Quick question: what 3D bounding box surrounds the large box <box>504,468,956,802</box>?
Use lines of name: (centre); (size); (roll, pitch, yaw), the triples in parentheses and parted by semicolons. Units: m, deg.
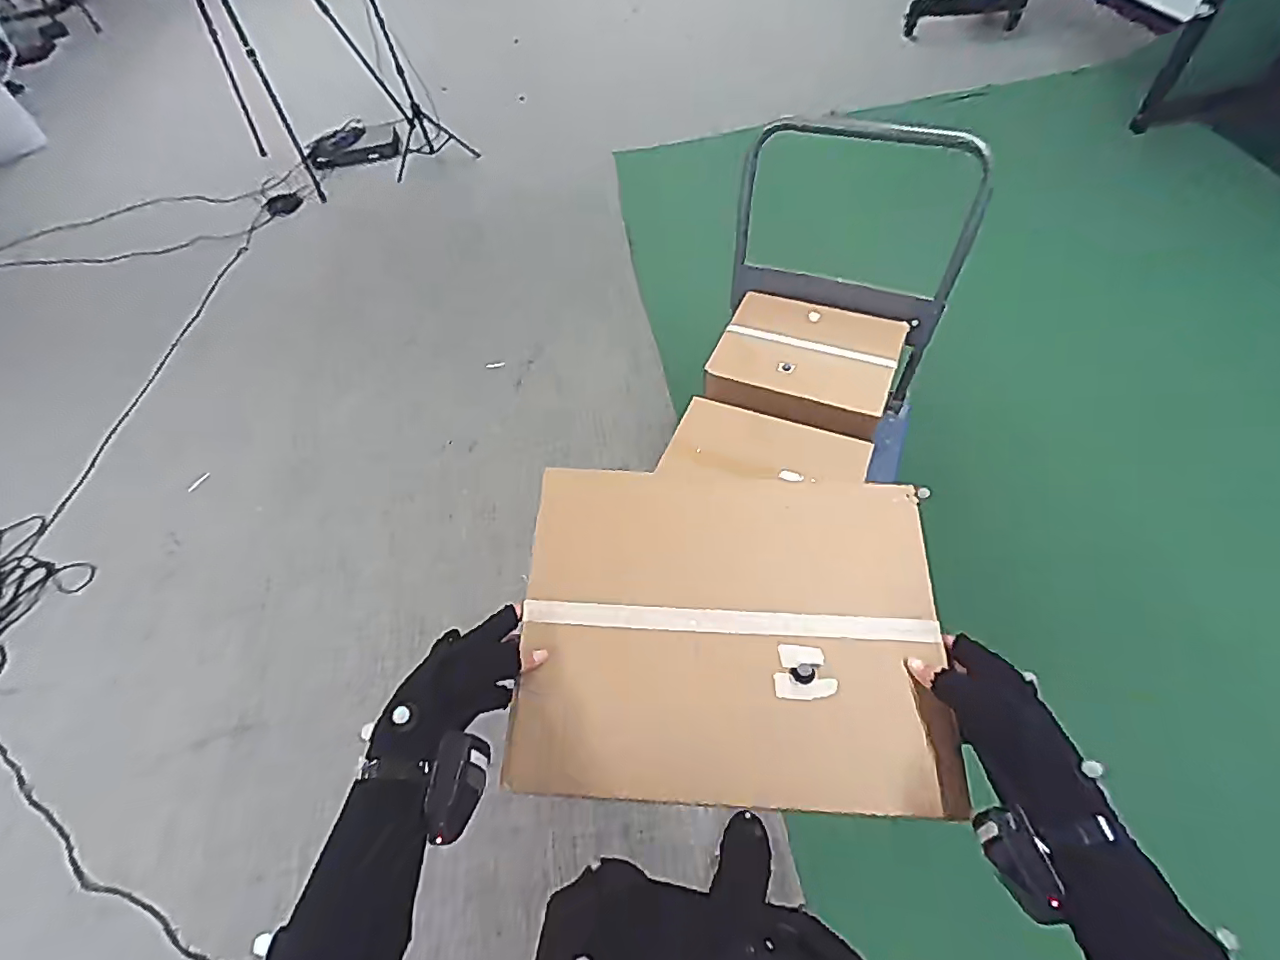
large box: (0.080, 0.197, 0.666); (0.408, 0.320, 0.320); (3, 65, 1)
